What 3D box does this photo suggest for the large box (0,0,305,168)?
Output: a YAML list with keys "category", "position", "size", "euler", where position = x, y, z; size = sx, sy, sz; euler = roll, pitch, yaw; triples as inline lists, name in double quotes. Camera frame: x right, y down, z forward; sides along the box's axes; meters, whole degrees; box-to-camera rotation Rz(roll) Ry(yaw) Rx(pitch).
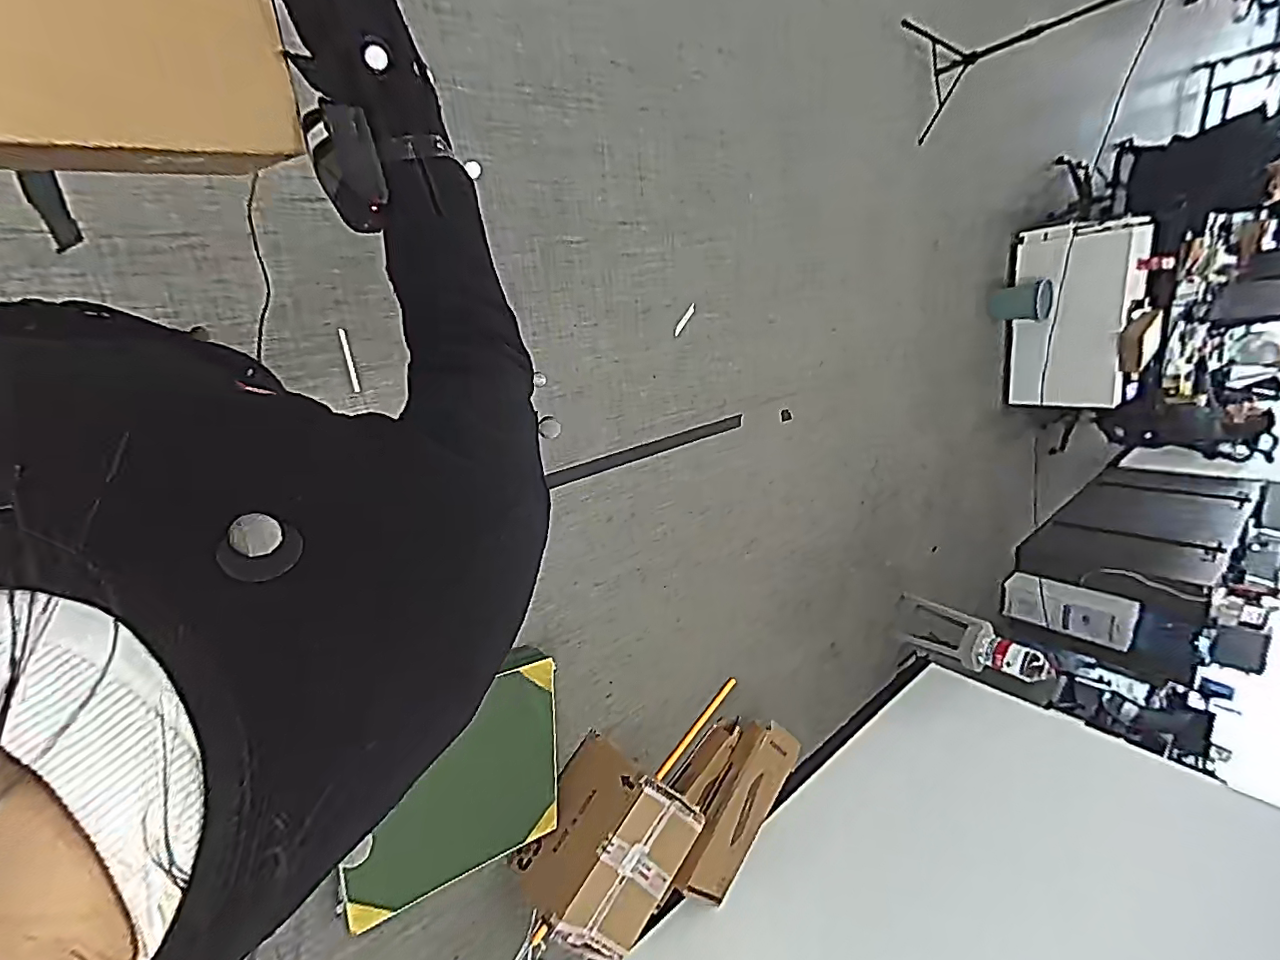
- category: "large box"
  position: [-0.475, -0.351, 0.287]
  size: [0.408, 0.320, 0.320]
  euler: [-21, 125, -34]
